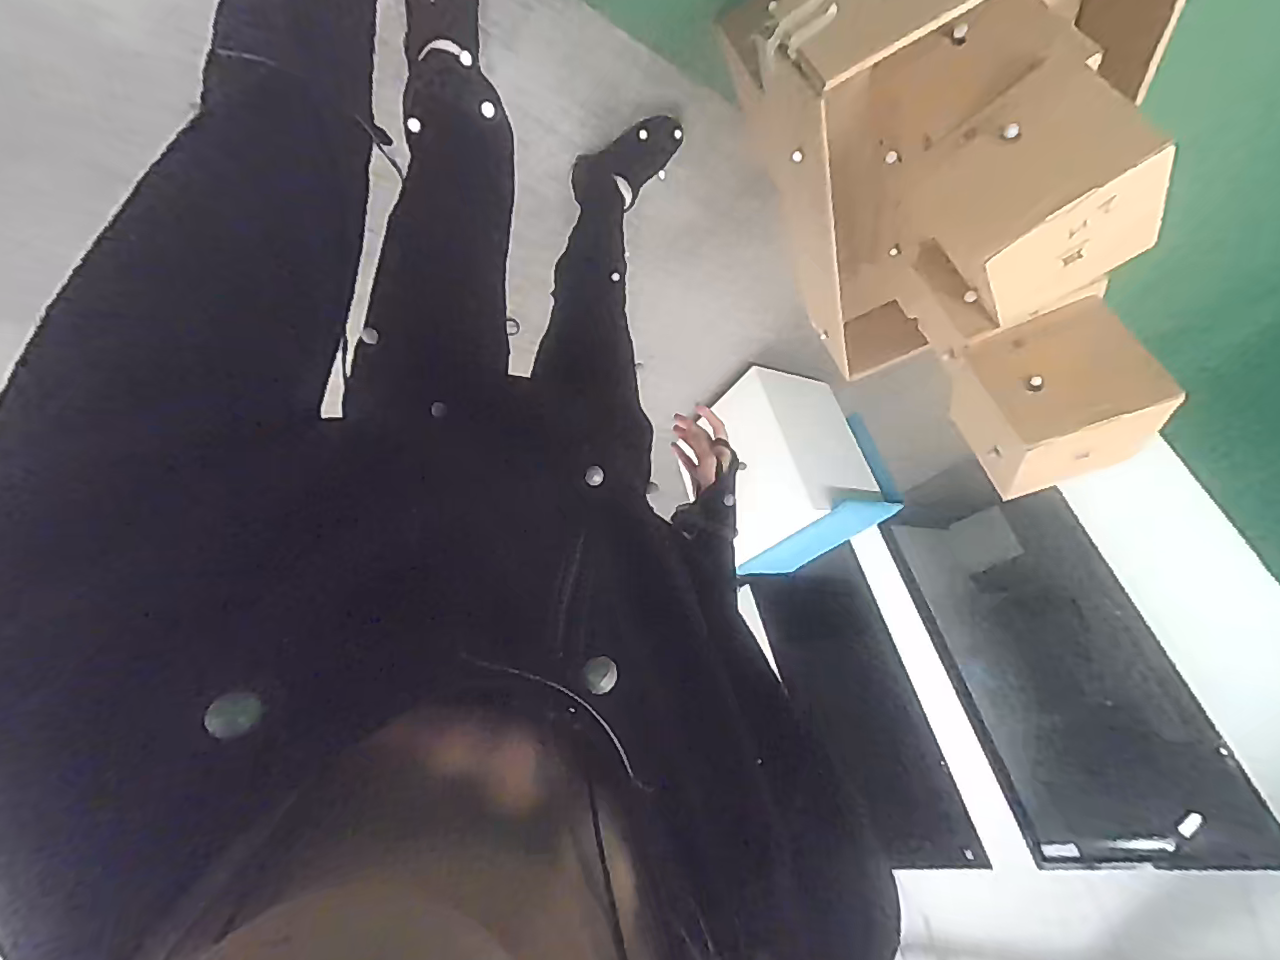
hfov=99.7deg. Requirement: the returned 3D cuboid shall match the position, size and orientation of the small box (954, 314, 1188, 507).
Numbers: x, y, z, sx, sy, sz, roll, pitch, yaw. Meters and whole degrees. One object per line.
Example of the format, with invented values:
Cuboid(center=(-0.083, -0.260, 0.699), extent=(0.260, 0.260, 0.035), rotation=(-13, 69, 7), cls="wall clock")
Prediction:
Cuboid(center=(0.546, -0.094, 0.721), extent=(0.168, 0.176, 0.179), rotation=(-22, 149, 14), cls="small box")
